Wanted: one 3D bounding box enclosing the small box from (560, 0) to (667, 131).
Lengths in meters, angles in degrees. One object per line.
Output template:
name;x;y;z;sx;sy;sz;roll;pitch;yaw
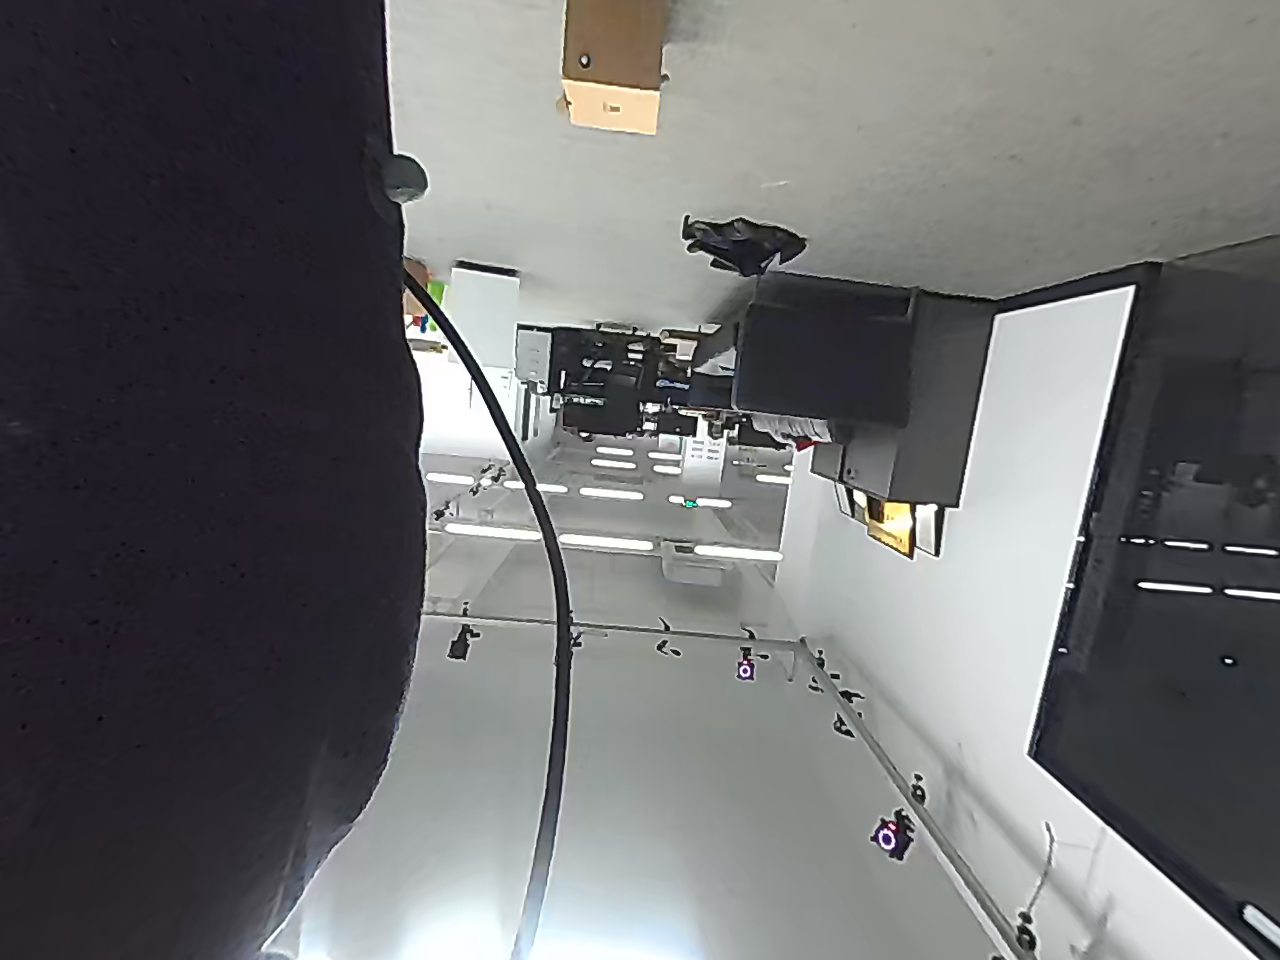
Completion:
small box;-0.047;-0.777;0.993;0.179;0.176;0.168;6;-171;-2
